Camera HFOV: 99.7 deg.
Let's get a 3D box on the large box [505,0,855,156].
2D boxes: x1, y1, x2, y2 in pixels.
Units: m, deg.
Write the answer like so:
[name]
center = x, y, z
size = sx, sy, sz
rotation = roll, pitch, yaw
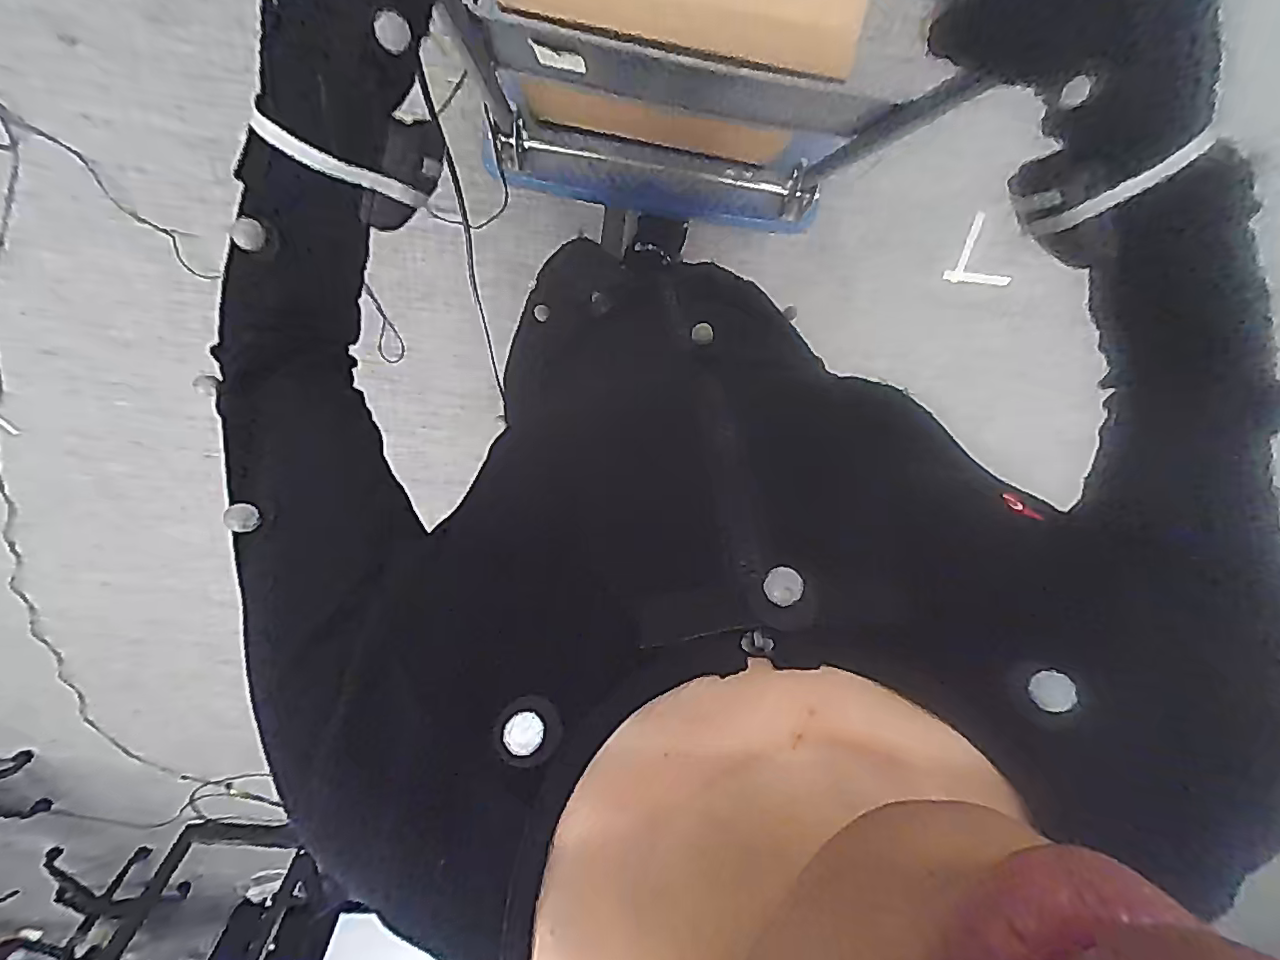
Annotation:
[large box]
center = 0.048, -0.683, 0.725
size = 0.408, 0.320, 0.320
rotation = 7, 104, -8
